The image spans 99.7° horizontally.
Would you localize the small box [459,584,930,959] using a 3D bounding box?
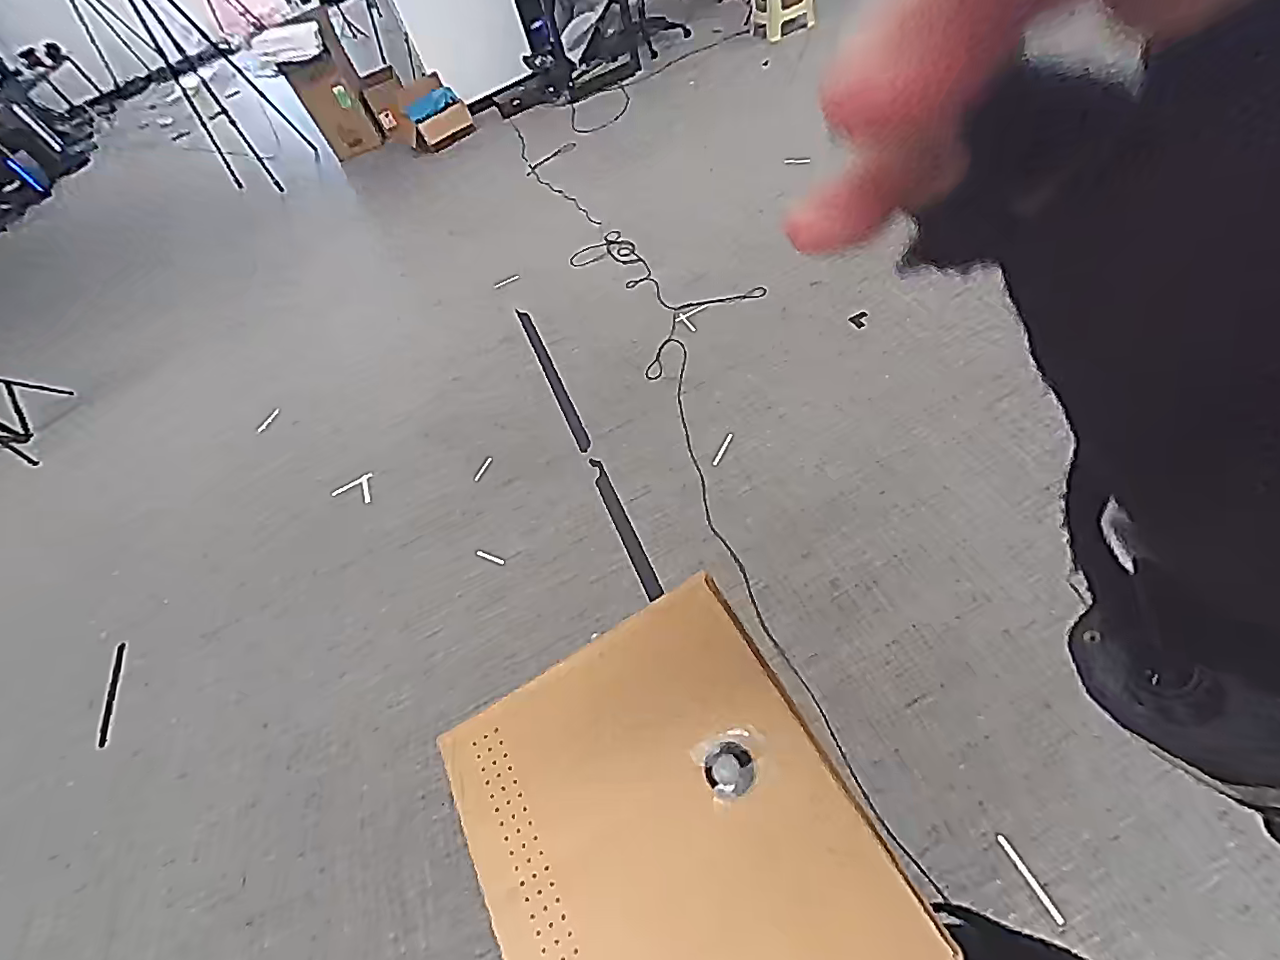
[{"bbox_3d":[0.023,0.195,0.317,0.176,0.168,0.179,-33,61,0],"label":"small box"}]
